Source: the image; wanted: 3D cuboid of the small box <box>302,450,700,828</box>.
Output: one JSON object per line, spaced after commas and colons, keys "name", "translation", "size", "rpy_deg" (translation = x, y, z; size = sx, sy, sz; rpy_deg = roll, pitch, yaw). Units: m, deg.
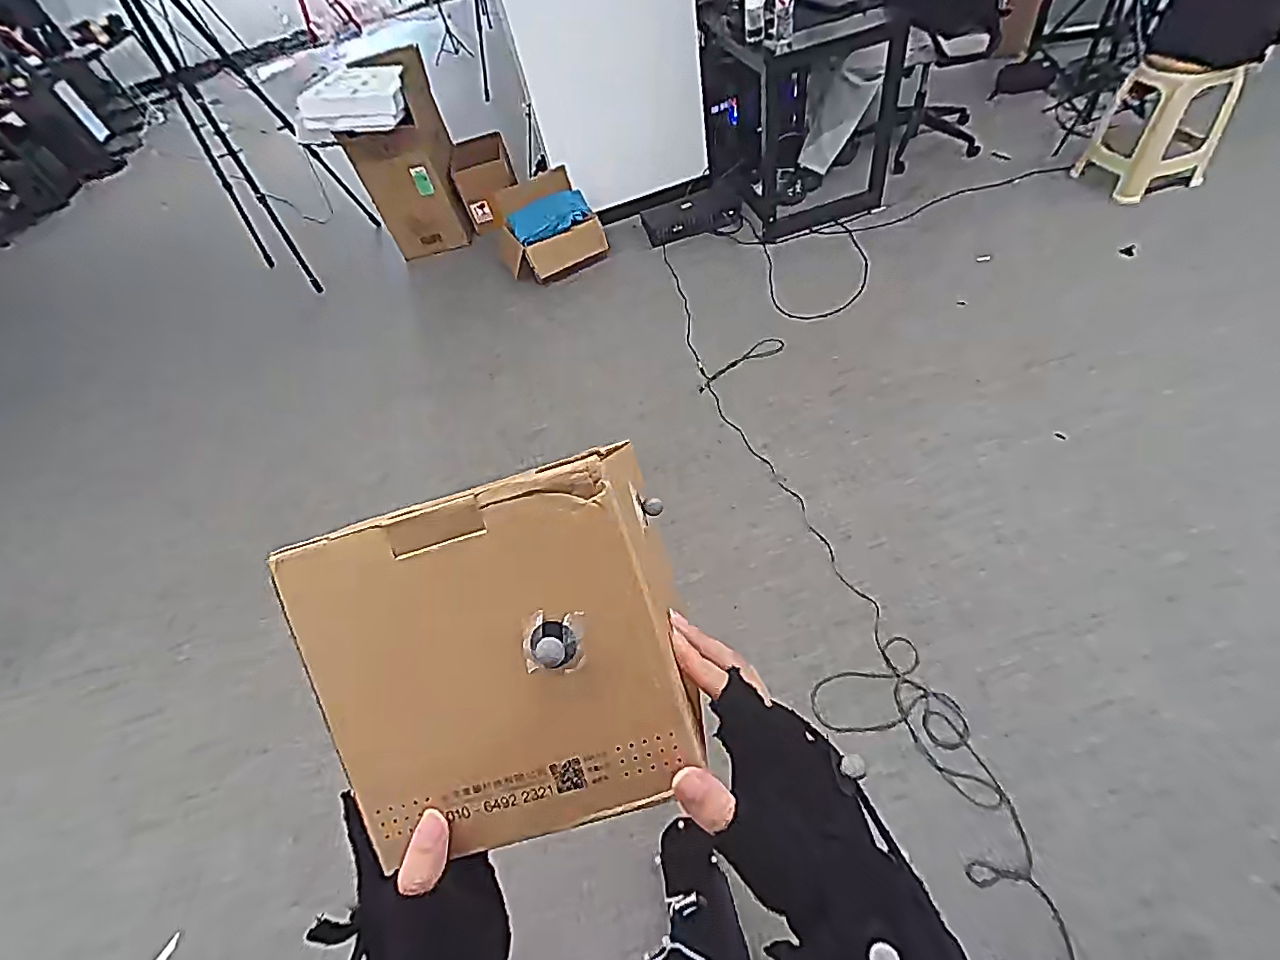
{"name": "small box", "translation": [-0.063, 0.089, 0.351], "size": [0.168, 0.179, 0.176], "rpy_deg": [-17, 94, 6]}
